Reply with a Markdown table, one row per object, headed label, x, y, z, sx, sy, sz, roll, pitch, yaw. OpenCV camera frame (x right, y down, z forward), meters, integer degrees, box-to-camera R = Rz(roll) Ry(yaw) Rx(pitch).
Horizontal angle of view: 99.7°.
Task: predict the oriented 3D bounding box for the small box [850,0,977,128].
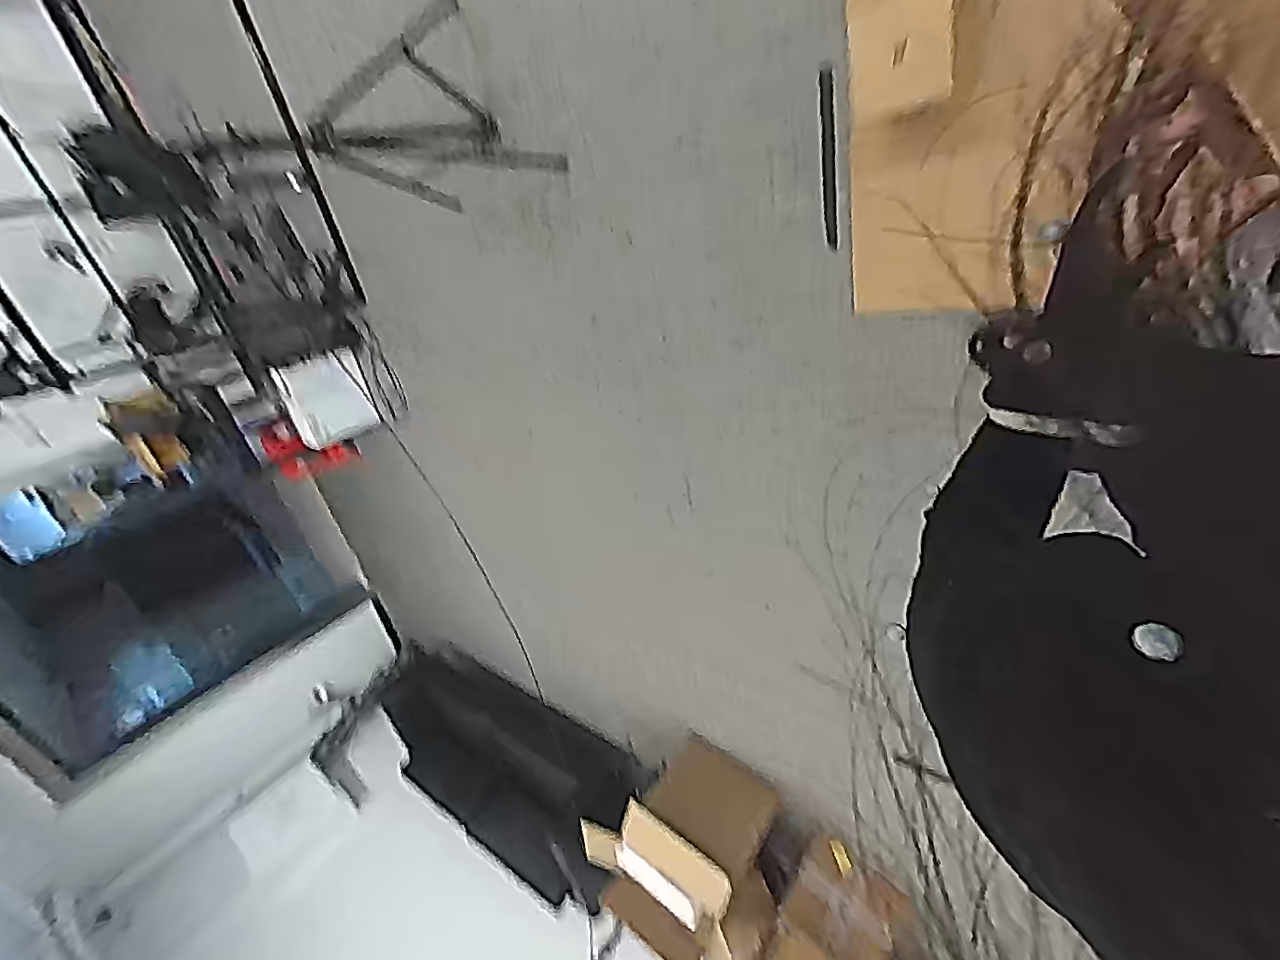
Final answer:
| label | x | y | z | sx | sy | sz | roll | pitch | yaw |
| --- | --- | --- | --- | --- | --- | --- | --- | --- | --- |
| small box | 0.503 | -0.770 | 0.986 | 0.168 | 0.176 | 0.179 | 6 | 123 | 42 |
